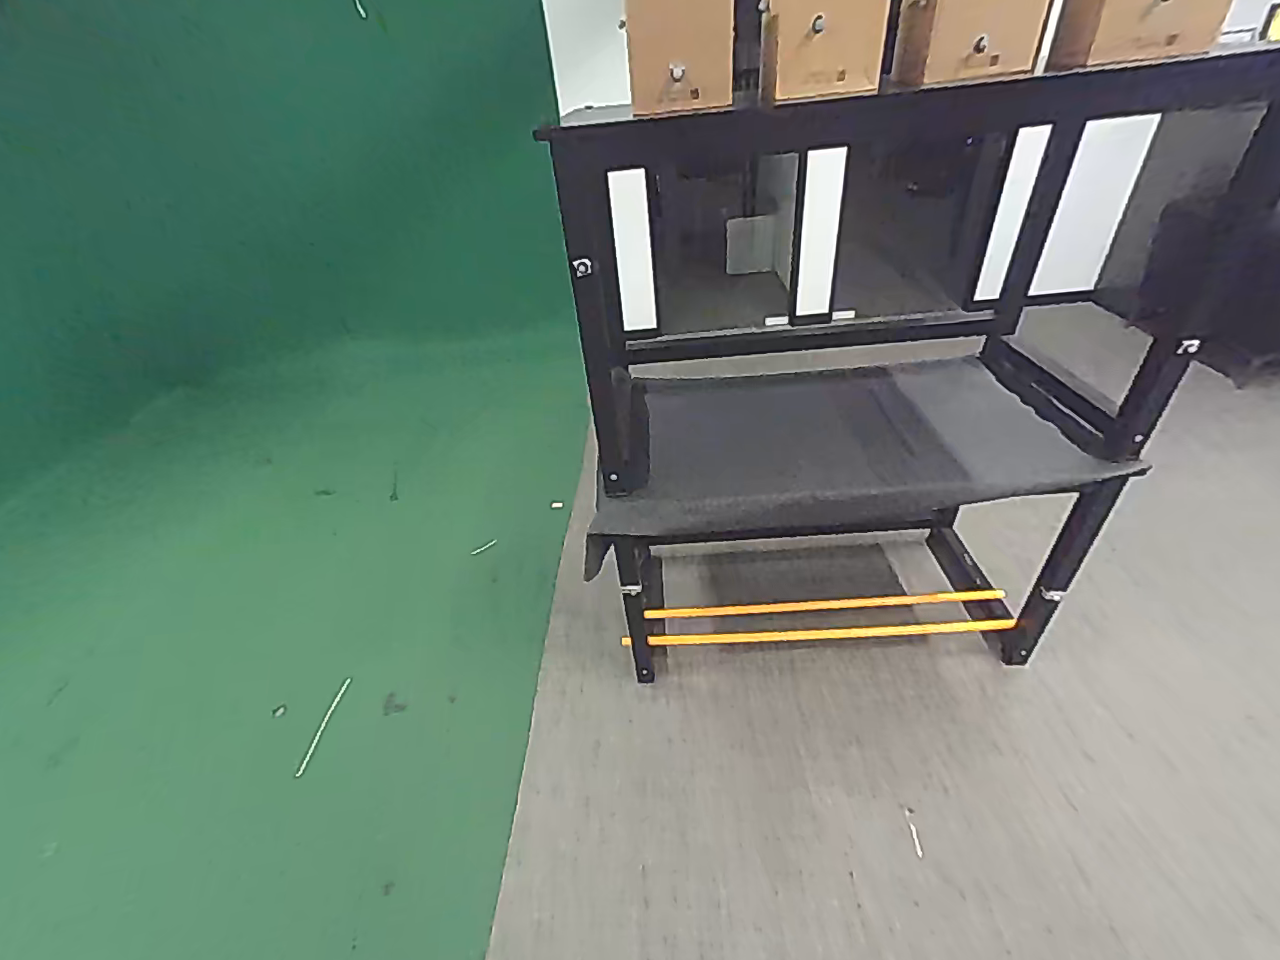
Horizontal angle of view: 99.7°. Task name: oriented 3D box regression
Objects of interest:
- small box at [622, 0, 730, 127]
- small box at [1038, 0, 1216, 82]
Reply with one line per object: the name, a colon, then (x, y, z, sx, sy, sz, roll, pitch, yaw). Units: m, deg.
small box: (0.059, -0.713, 0.927, 0.168, 0.176, 0.179, -5, 37, 2)
small box: (0.779, -0.749, 0.862, 0.168, 0.176, 0.179, 3, 37, 13)
